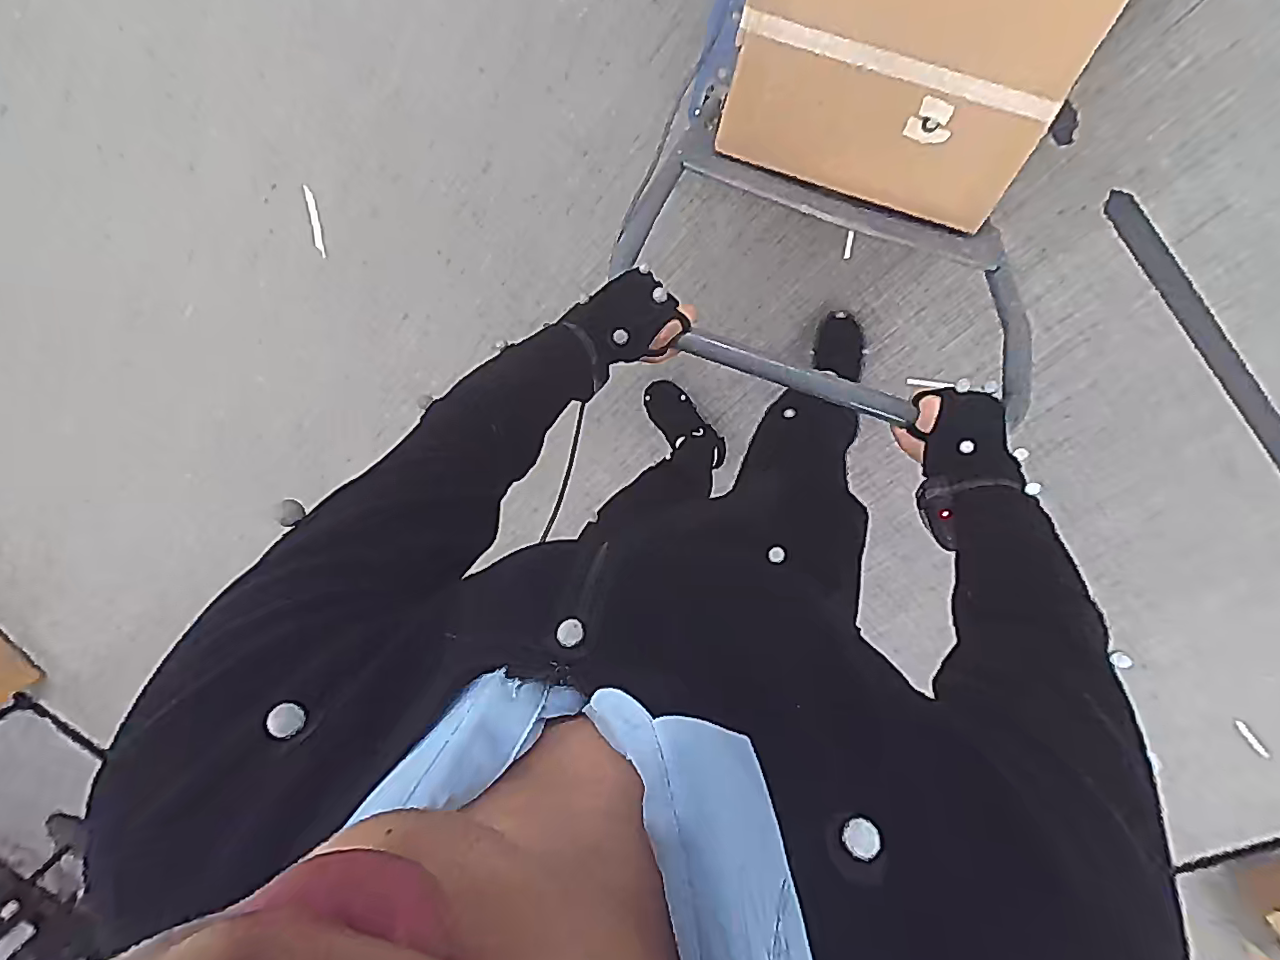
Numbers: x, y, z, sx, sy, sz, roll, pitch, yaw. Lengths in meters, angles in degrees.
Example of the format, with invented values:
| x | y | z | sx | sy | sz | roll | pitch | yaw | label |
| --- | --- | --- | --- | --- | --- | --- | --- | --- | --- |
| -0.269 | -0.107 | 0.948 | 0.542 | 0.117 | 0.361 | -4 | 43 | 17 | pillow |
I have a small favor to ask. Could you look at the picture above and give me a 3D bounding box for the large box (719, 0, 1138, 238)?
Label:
| x | y | z | sx | sy | sz | roll | pitch | yaw | label |
| --- | --- | --- | --- | --- | --- | --- | --- | --- | --- |
| 0.363 | -0.609 | 0.776 | 0.408 | 0.320 | 0.320 | 19 | 137 | 1 | large box |
